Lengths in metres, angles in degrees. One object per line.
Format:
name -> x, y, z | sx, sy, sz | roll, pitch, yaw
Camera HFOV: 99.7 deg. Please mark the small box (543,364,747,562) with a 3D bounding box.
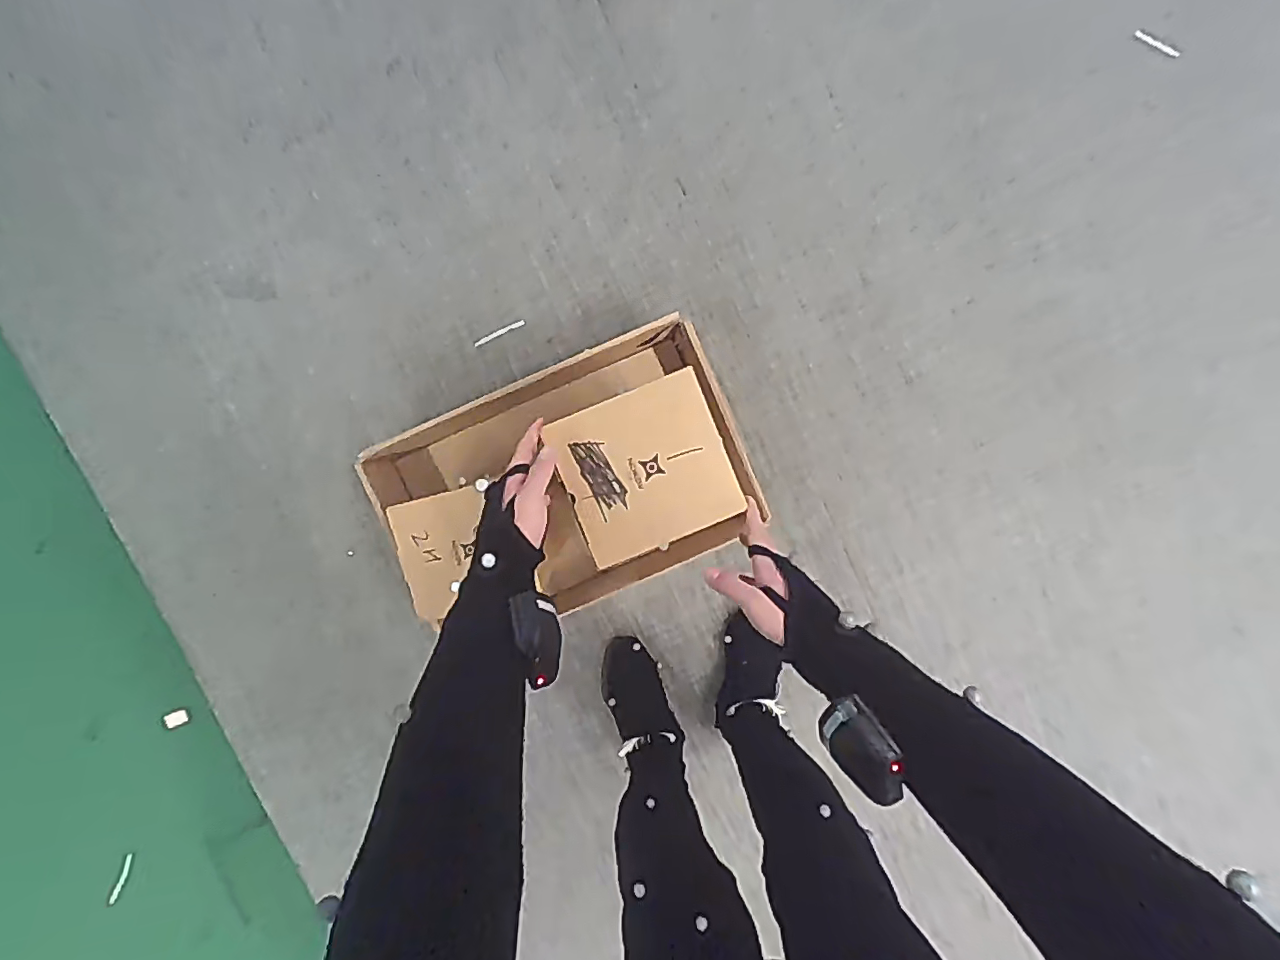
small box -> 0.007, -0.020, 0.649 | 0.179, 0.176, 0.168 | -22, 94, 1
